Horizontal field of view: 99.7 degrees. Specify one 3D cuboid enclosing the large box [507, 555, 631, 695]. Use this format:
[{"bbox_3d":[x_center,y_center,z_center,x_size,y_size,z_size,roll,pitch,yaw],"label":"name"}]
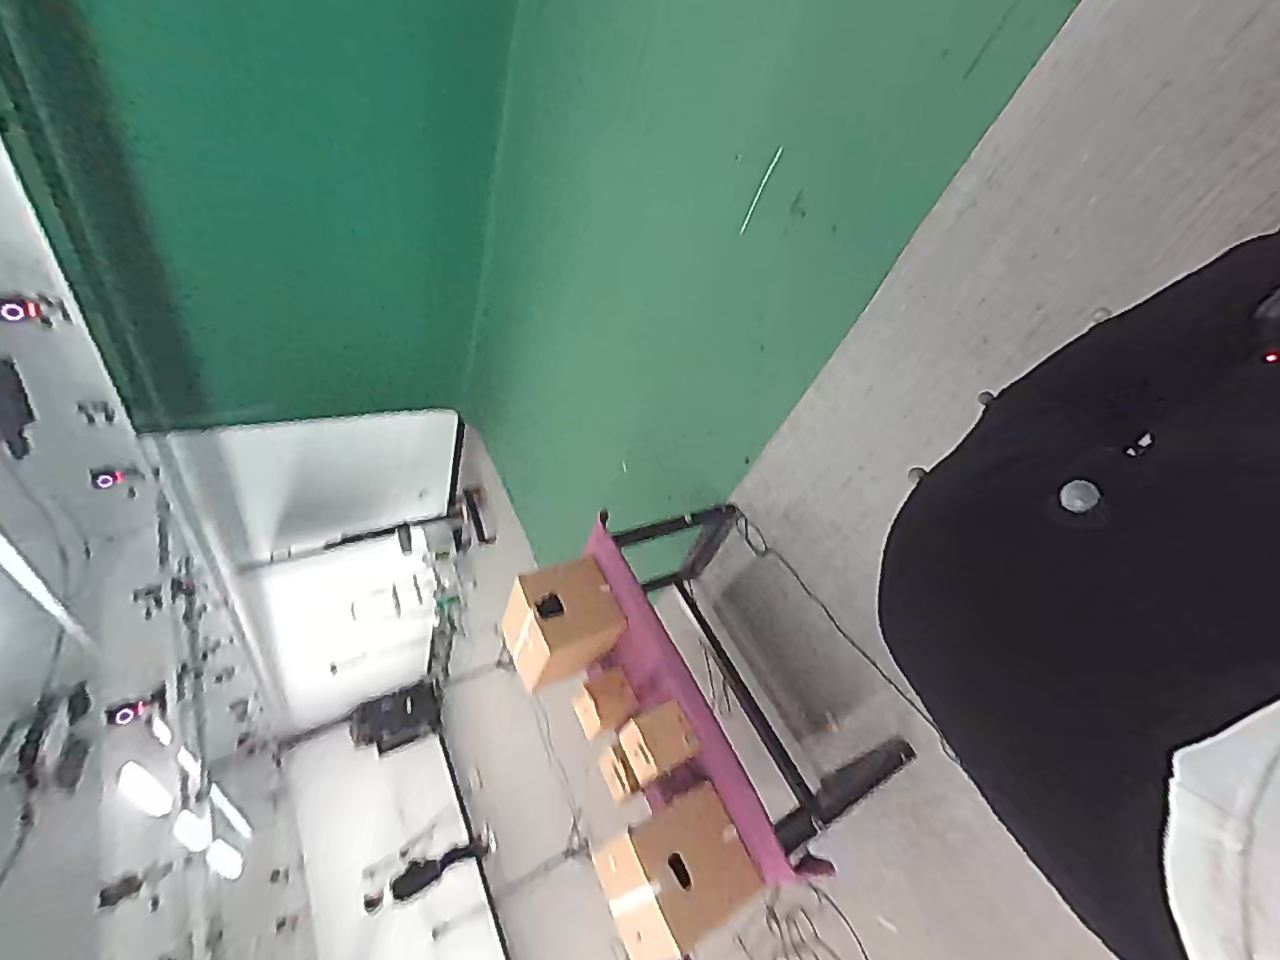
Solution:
[{"bbox_3d":[-0.283,0.548,2.056,0.320,0.320,0.408,57,141,28],"label":"large box"}]
